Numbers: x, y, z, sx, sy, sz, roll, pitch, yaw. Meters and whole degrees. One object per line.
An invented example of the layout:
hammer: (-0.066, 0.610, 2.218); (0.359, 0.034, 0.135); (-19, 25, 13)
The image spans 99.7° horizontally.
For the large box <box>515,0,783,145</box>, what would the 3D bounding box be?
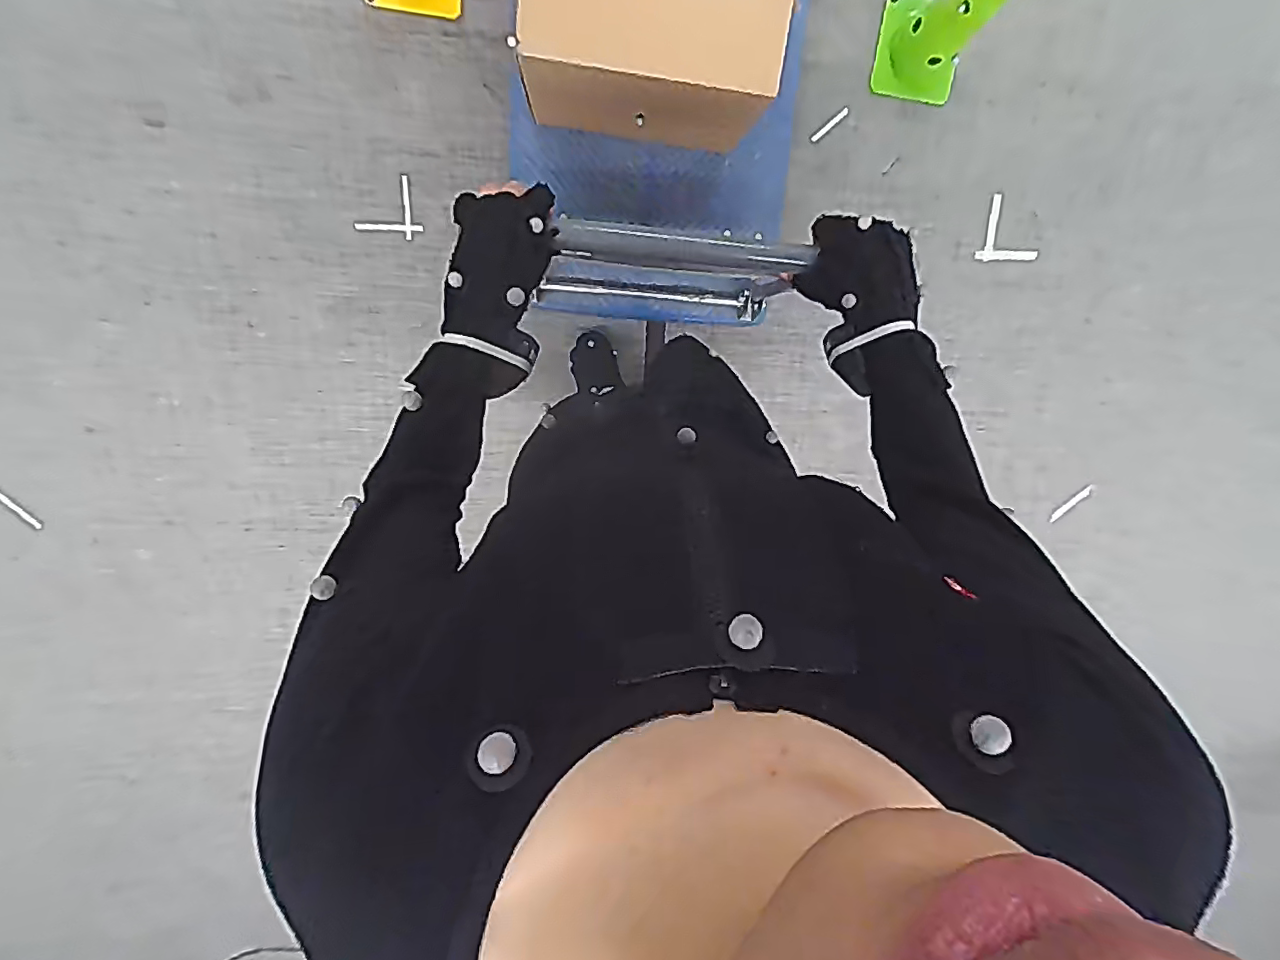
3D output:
large box: (0.013, -0.811, 0.930); (0.408, 0.320, 0.320); (5, 106, -6)

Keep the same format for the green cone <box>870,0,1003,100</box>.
green cone: (0.664, -0.965, 1.099); (0.202, 0.368, 0.200); (4, 106, -8)
